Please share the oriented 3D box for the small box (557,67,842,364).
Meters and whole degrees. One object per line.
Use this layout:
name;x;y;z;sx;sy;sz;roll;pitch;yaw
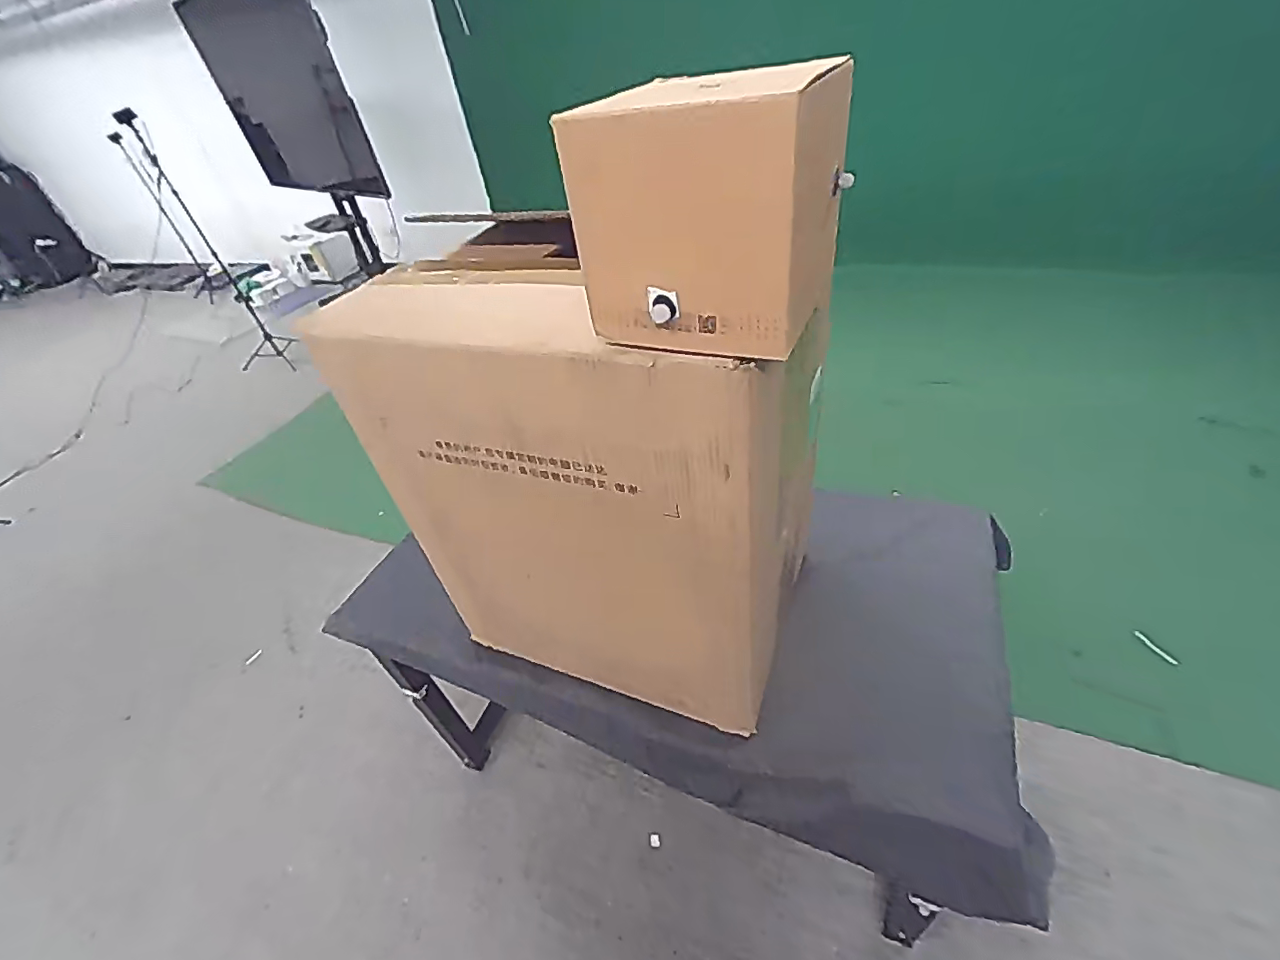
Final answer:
small box;0.059;-0.215;0.442;0.168;0.176;0.179;10;44;23
